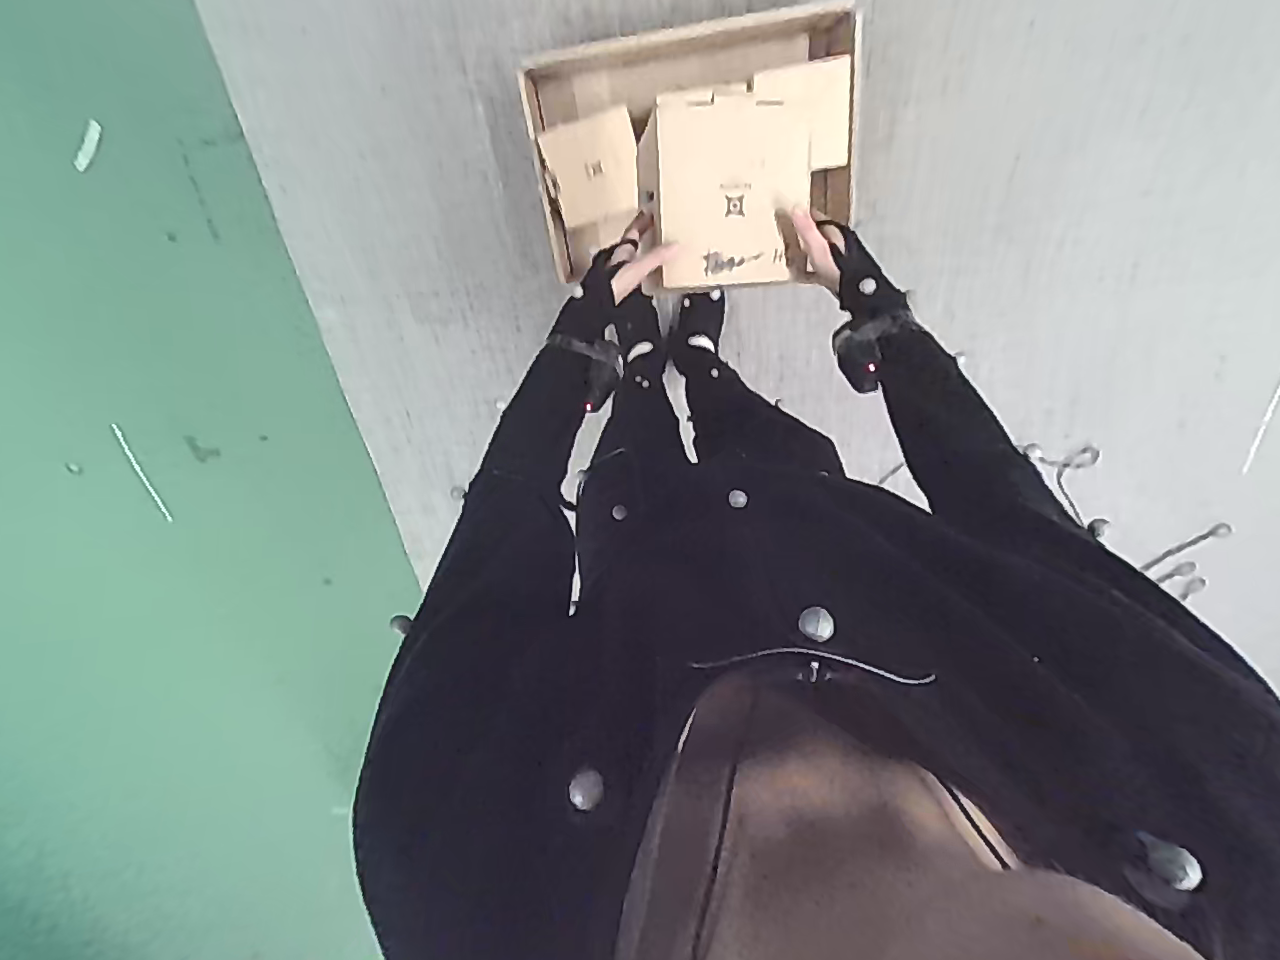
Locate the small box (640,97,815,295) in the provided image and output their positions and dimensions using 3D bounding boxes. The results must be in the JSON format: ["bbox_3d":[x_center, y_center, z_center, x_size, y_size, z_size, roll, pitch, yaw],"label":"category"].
[{"bbox_3d":[0.093,-0.321,0.642,0.168,0.176,0.179,-5,106,-5],"label":"small box"}]
